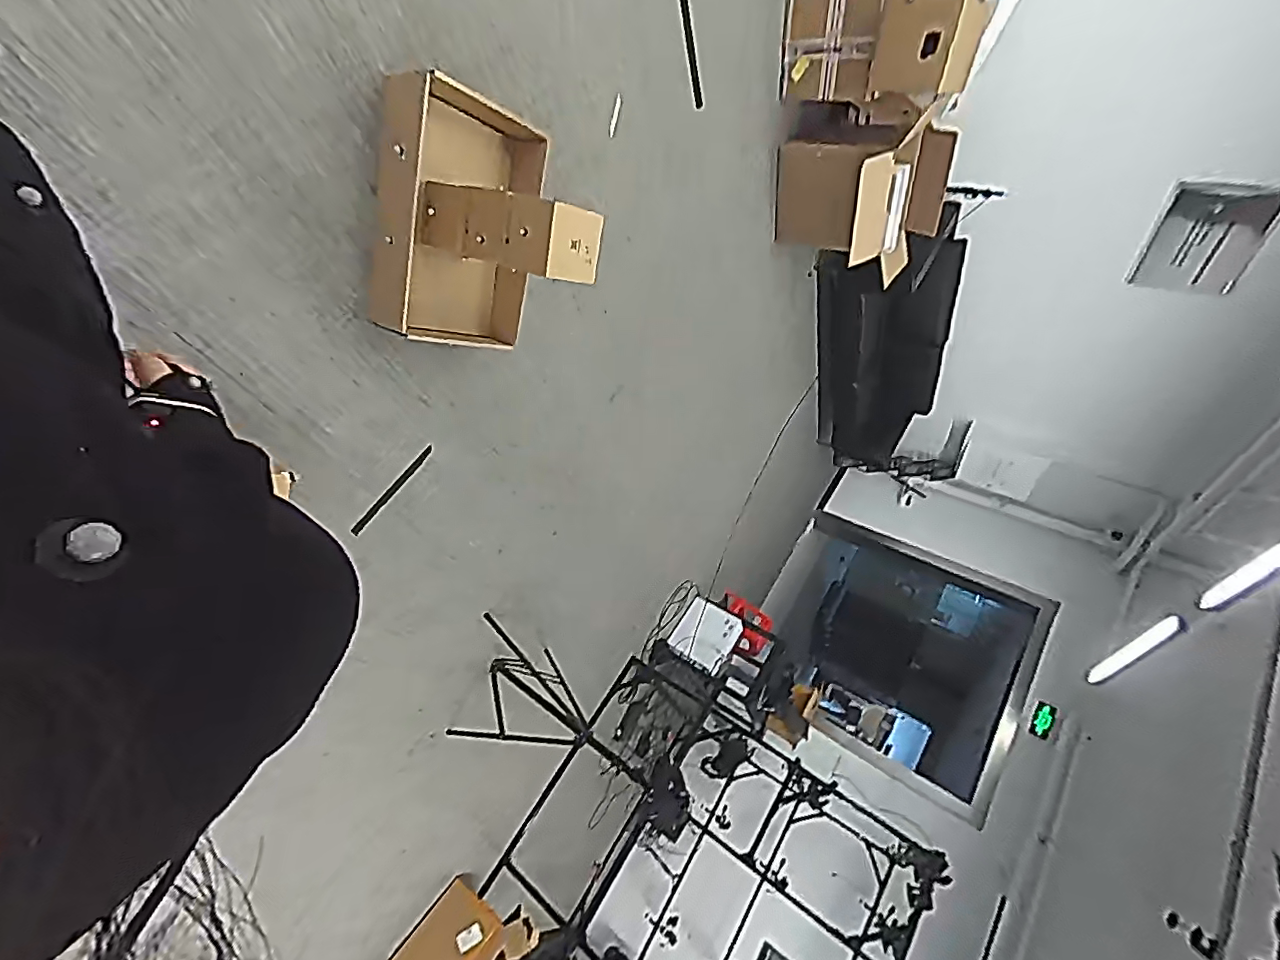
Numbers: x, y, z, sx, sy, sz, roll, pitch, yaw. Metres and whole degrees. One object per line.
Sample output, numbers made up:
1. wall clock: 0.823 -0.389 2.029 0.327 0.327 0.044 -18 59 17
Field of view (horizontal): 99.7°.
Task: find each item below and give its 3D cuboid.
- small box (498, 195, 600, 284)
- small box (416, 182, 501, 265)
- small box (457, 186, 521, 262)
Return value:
1. small box: -0.229 -0.596 1.340 0.179 0.176 0.168 -18 128 -52
2. small box: -0.489 -0.713 1.501 0.179 0.176 0.168 -11 120 -54
3. small box: -0.358 -0.661 1.421 0.179 0.176 0.168 -20 129 -53
